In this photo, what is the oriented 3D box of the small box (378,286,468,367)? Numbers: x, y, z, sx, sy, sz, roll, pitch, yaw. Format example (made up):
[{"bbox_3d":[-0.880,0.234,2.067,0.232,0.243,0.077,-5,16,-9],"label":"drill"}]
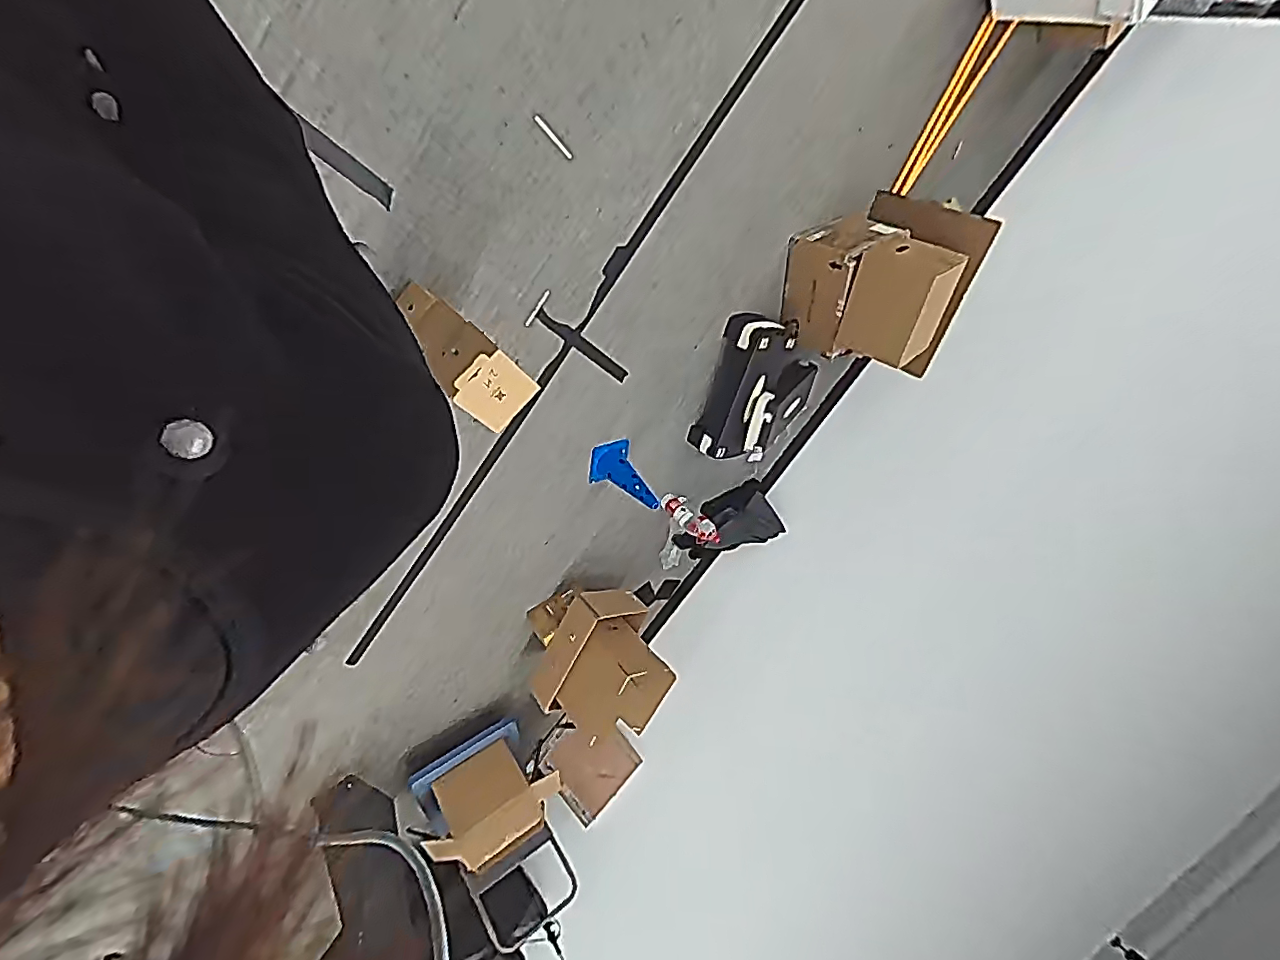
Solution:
[{"bbox_3d":[-0.610,-0.429,1.544,0.168,0.176,0.179,-51,144,5],"label":"small box"}]

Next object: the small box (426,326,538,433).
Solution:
[{"bbox_3d":[-0.398,-0.256,1.359,0.168,0.176,0.179,-47,144,0],"label":"small box"}]
